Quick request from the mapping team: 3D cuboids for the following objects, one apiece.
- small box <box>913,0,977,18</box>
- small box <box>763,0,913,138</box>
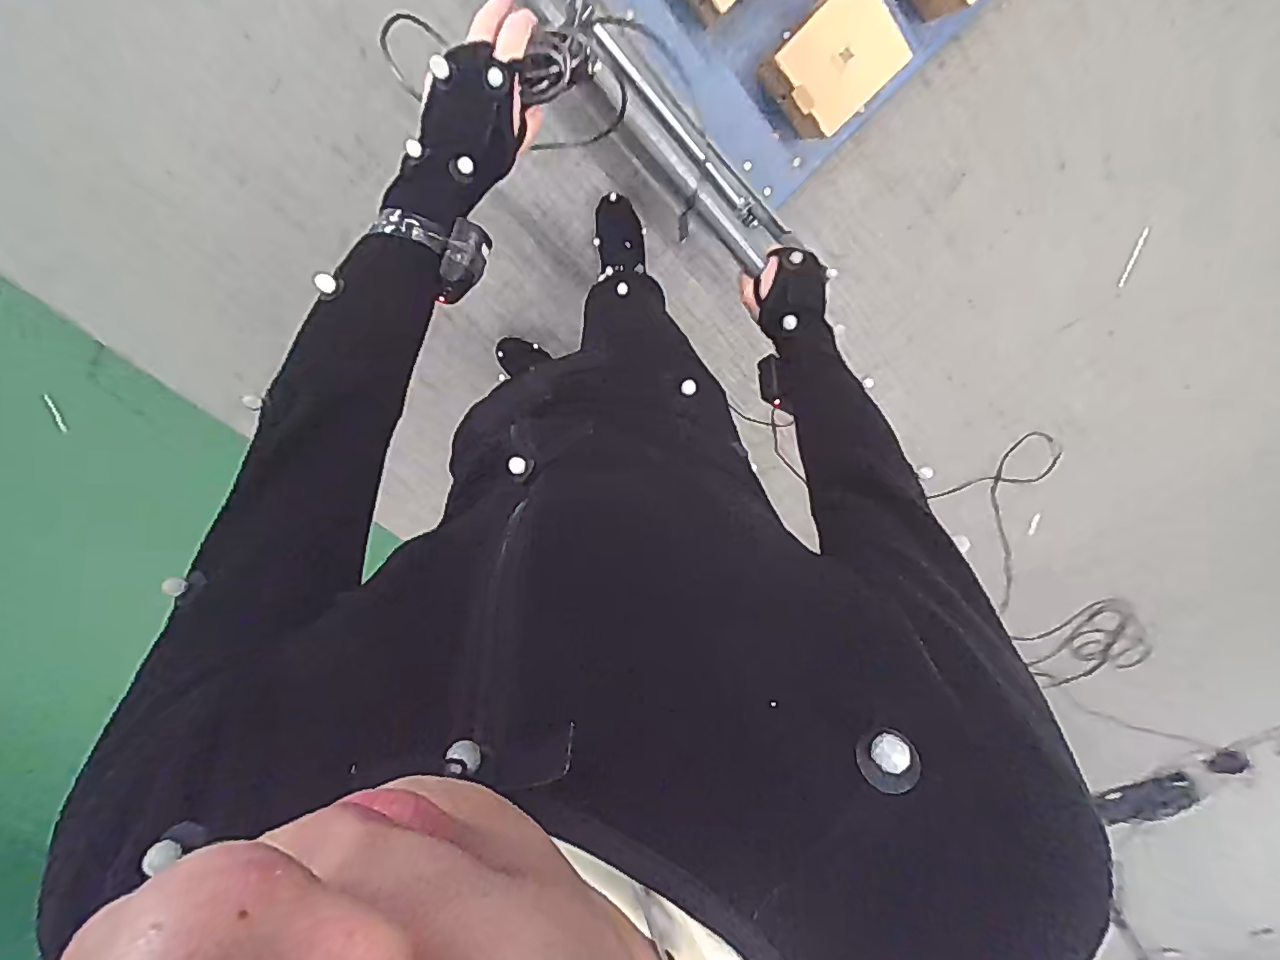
[{"bbox_3d":[0.541,-0.917,0.886,0.168,0.176,0.179,38,116,-21],"label":"small box"},{"bbox_3d":[0.350,-0.765,0.987,0.179,0.176,0.168,-39,115,23],"label":"small box"}]
